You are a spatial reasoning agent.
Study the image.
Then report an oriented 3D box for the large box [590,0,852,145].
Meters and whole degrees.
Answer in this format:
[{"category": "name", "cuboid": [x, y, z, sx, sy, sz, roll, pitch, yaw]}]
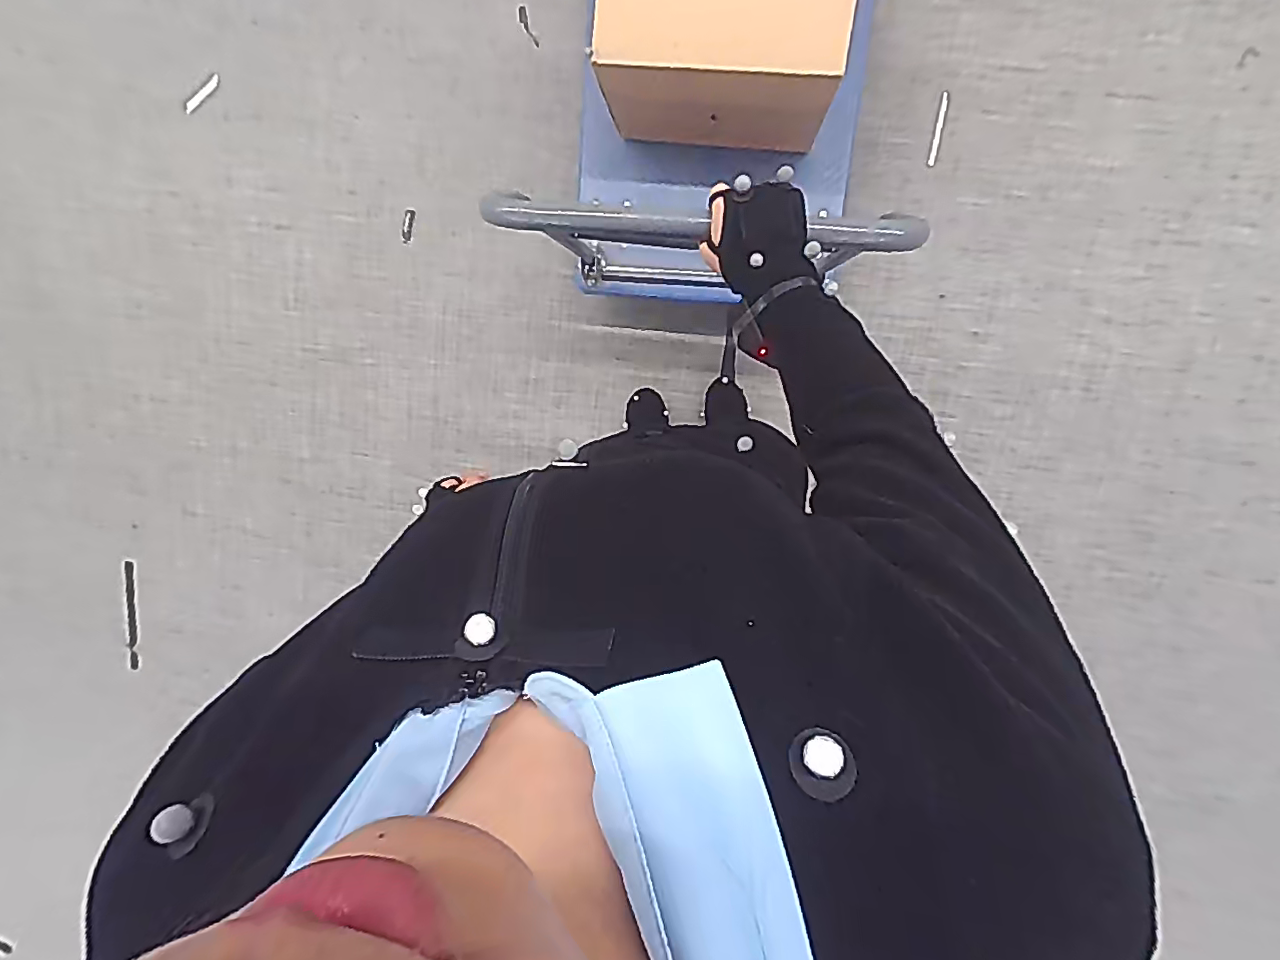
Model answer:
[{"category": "large box", "cuboid": [0.150, -0.827, 0.961, 0.408, 0.320, 0.320, 8, 101, 7]}]
